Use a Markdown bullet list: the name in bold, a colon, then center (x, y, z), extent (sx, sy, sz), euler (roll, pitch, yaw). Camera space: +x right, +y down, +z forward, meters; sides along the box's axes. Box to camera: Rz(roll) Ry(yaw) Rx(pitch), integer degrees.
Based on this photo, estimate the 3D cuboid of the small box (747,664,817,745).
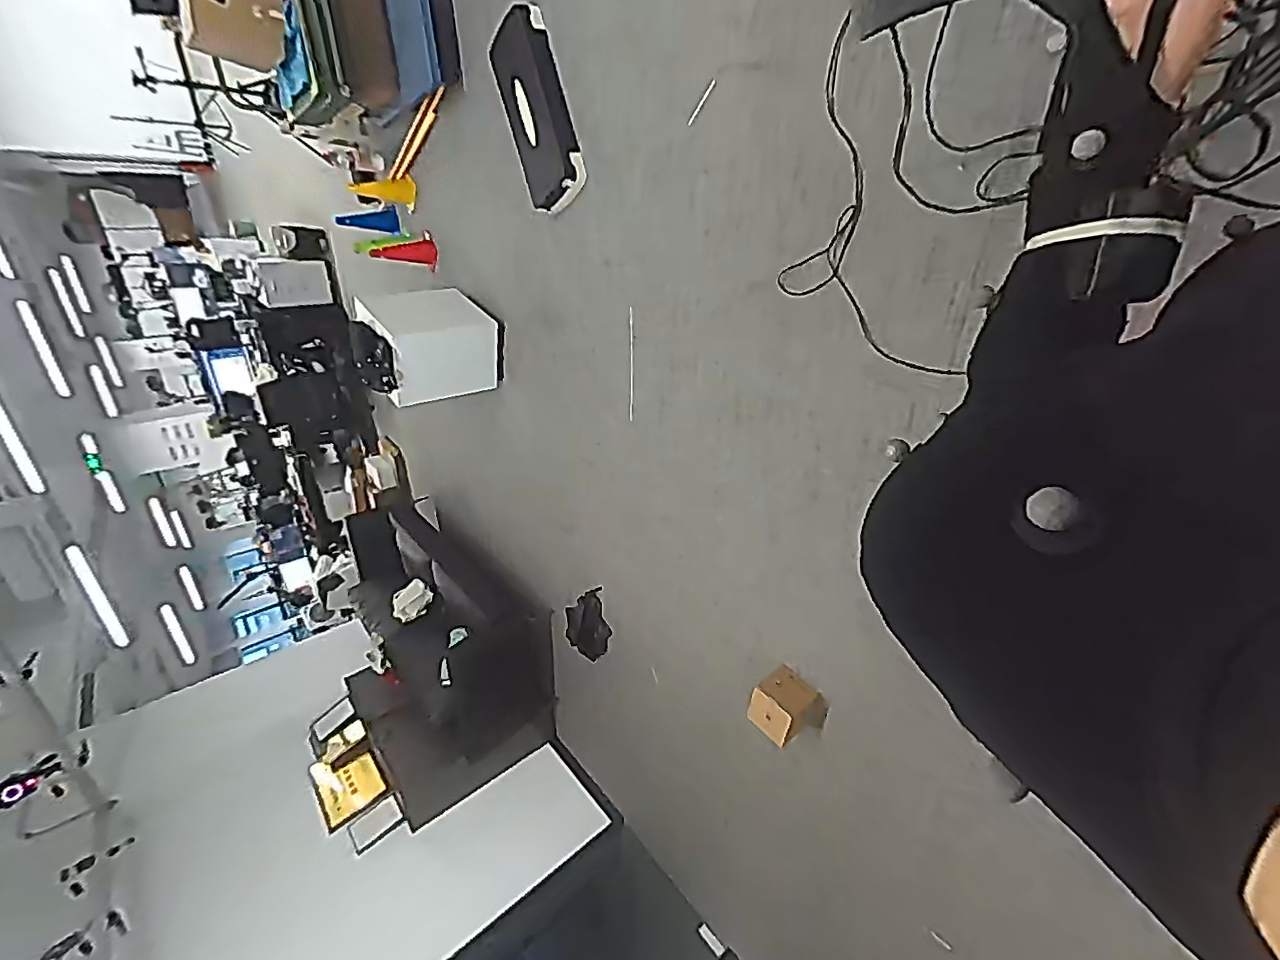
- **small box**: center (0.516, 0.805, 1.954), extent (0.168, 0.176, 0.179), euler (34, 132, 40)
